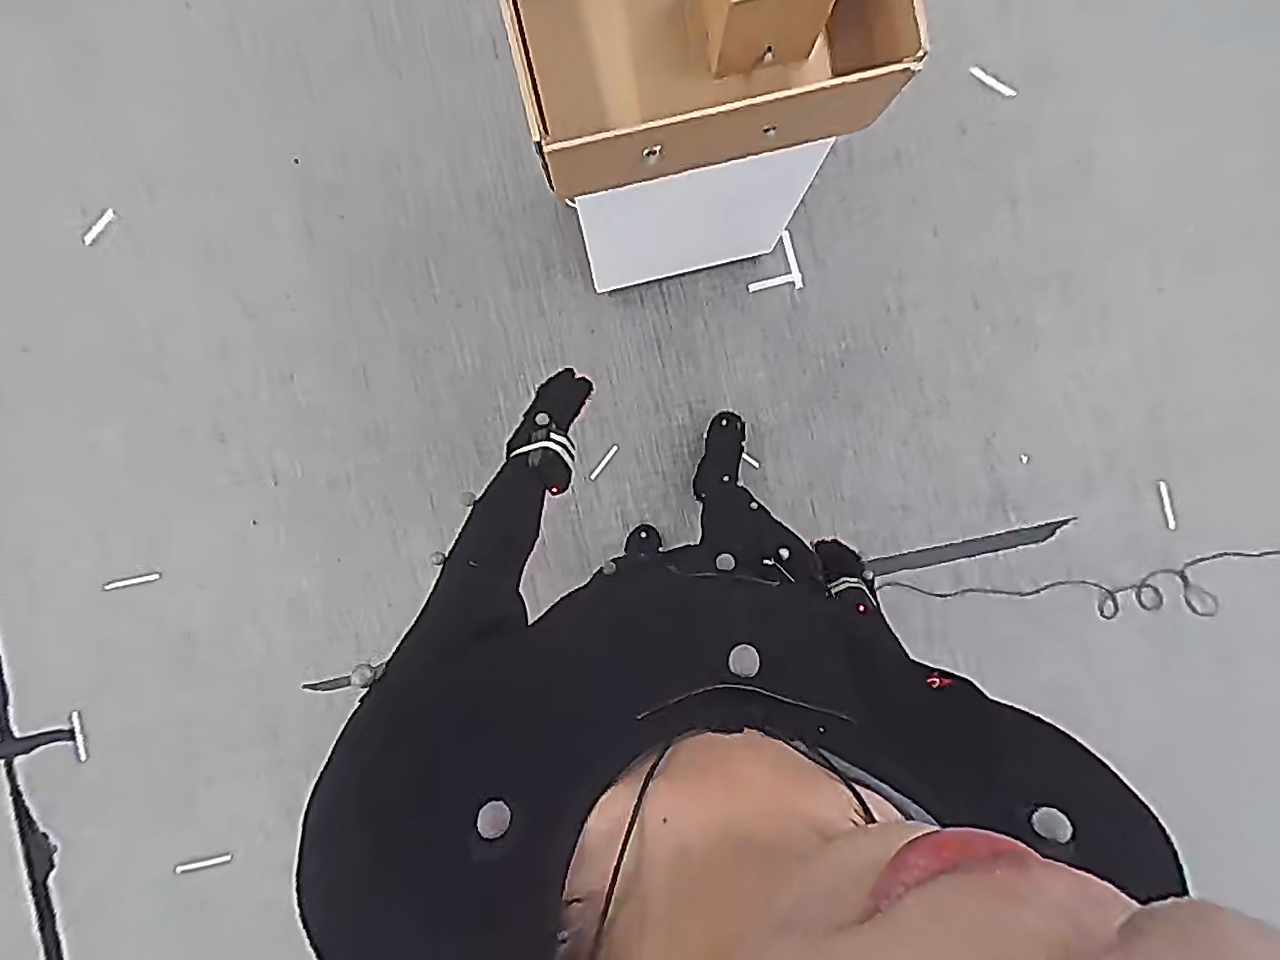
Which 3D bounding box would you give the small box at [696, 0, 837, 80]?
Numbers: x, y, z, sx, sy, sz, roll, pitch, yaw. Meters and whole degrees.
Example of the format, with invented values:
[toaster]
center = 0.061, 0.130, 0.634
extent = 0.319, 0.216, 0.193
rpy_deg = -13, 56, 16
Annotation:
[small box]
center = 0.195, -0.786, 0.859
extent = 0.179, 0.176, 0.168
rpy_deg = -13, 93, 0
